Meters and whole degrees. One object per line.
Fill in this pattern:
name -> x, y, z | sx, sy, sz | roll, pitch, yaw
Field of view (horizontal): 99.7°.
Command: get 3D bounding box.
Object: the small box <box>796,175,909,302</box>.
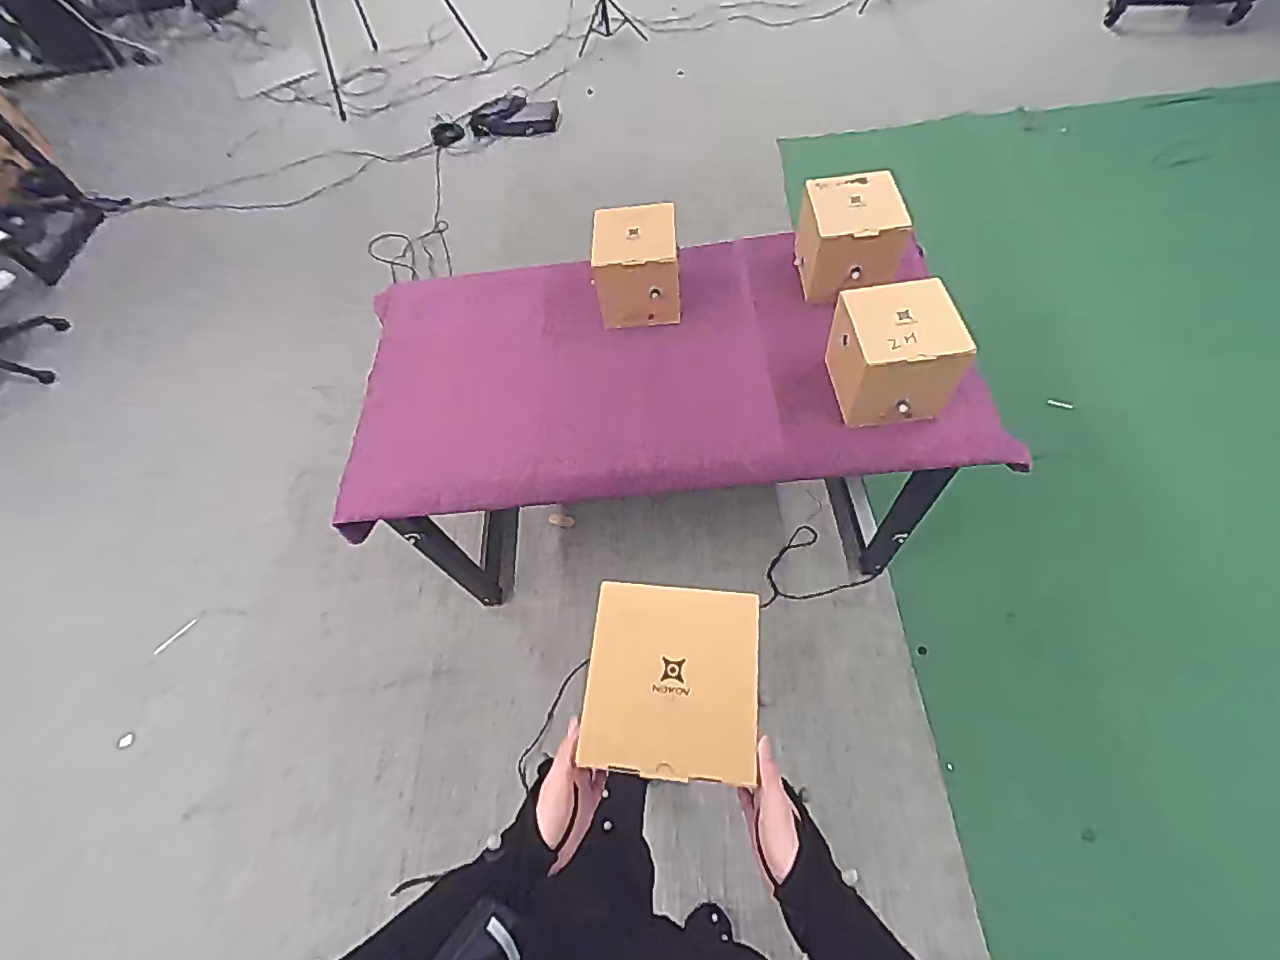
small box -> 0.422, -0.483, 1.106 | 0.168, 0.176, 0.179 | -4, 62, 5

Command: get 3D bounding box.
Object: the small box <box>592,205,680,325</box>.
small box -> -0.001, -0.443, 1.139 | 0.168, 0.176, 0.179 | -2, 59, 5

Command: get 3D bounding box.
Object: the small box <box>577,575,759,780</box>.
small box -> 0.036, 0.220, 0.598 | 0.168, 0.176, 0.179 | 4, 64, 7

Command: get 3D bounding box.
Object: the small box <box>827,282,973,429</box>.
small box -> 0.436, -0.213, 0.943 | 0.168, 0.176, 0.179 | -6, 58, 6
